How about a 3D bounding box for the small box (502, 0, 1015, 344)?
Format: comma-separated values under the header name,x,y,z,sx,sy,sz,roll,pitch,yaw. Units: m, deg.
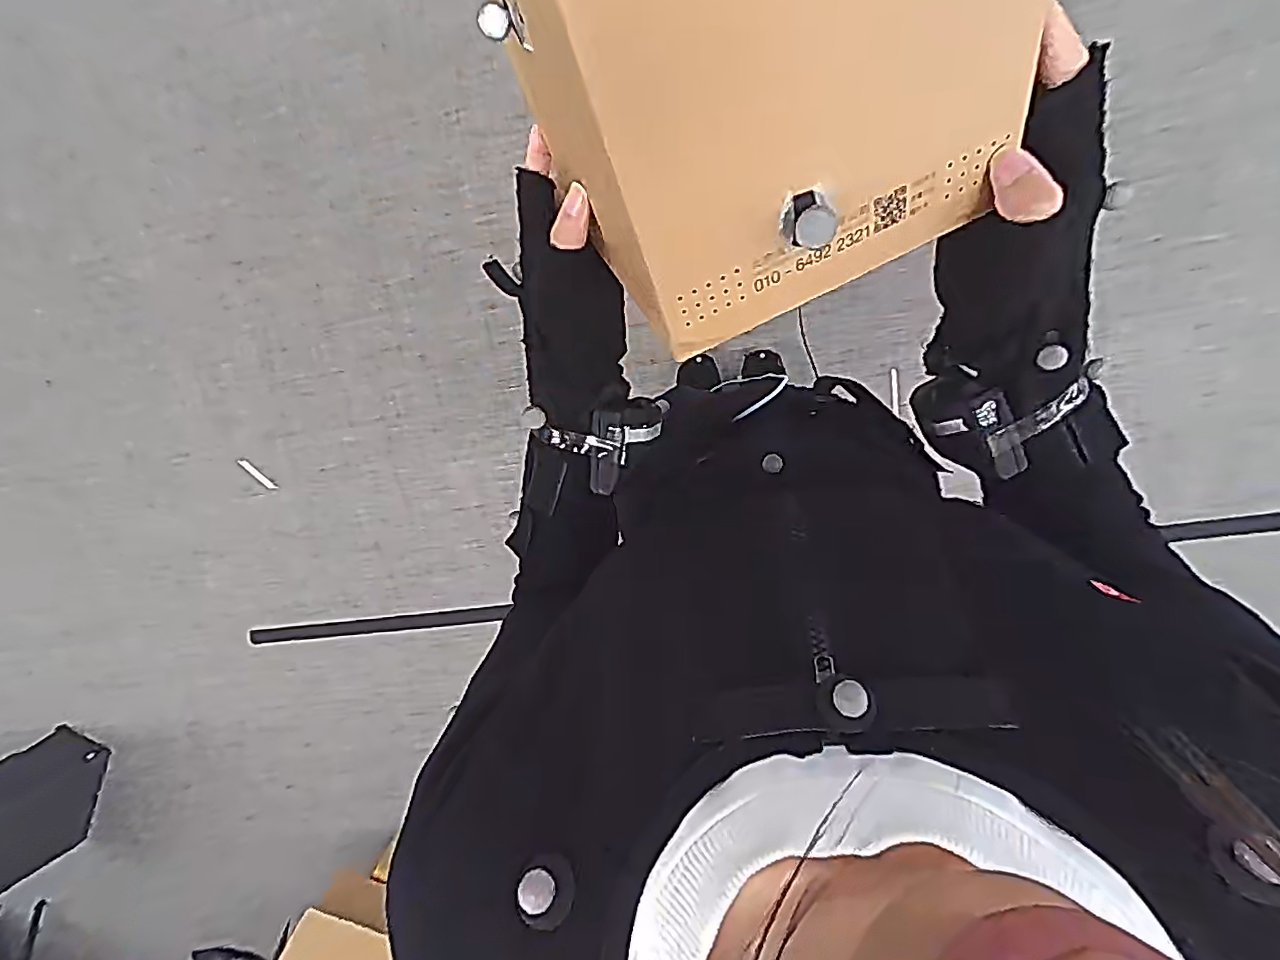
name,x,y,z,sx,sy,sz,roll,pitch,yaw
small box,0.040,-0.197,0.256,0.168,0.179,0.176,-27,138,1
